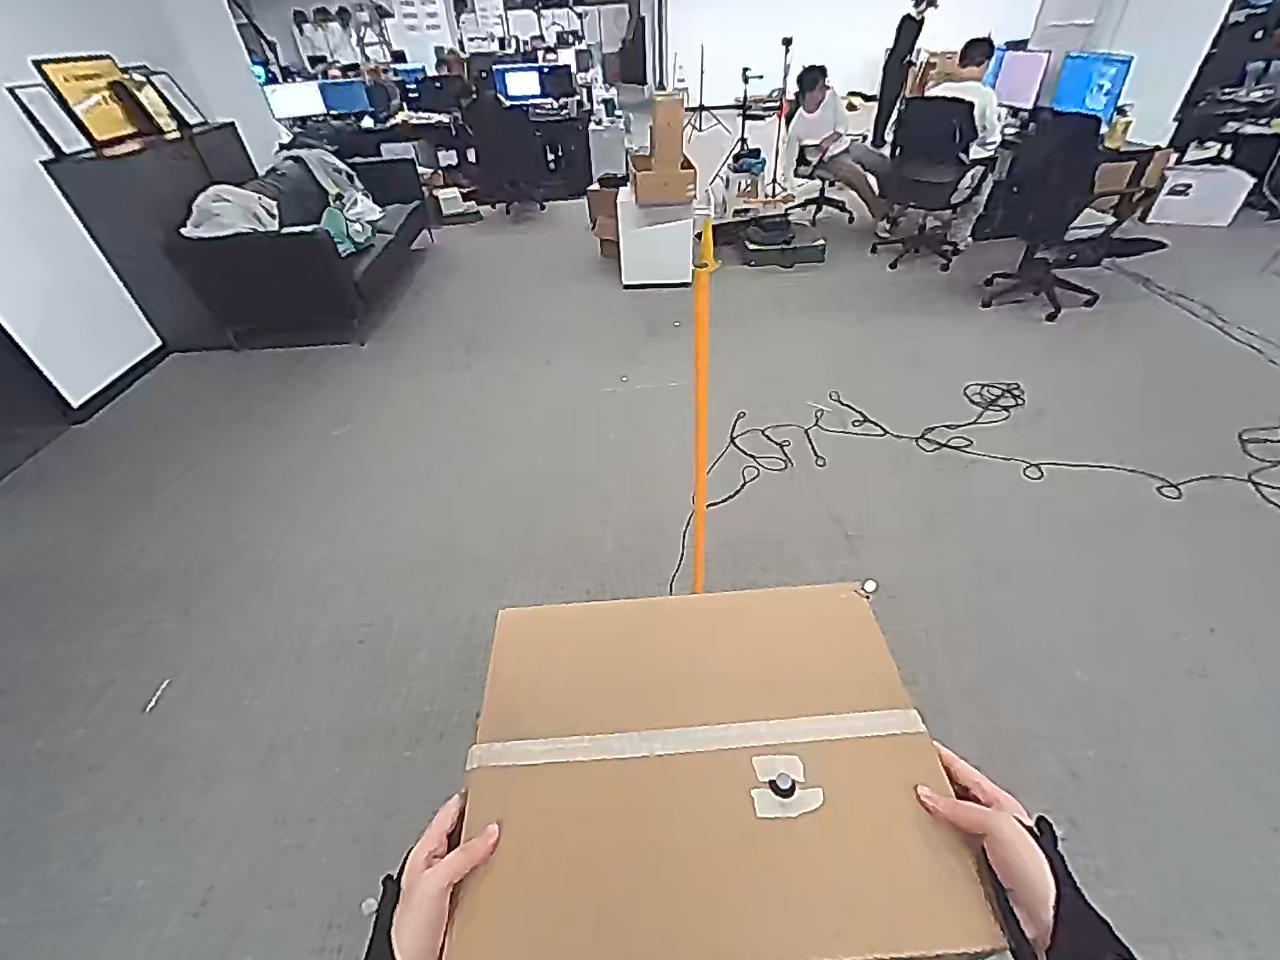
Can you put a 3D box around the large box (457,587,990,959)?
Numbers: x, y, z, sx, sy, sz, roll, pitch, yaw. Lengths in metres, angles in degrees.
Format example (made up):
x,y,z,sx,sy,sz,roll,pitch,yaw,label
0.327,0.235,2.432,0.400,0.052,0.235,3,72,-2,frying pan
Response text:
x,y,z,sx,sy,sz,roll,pitch,yaw,label
0.058,0.348,0.600,0.408,0.320,0.320,-4,43,-1,large box
